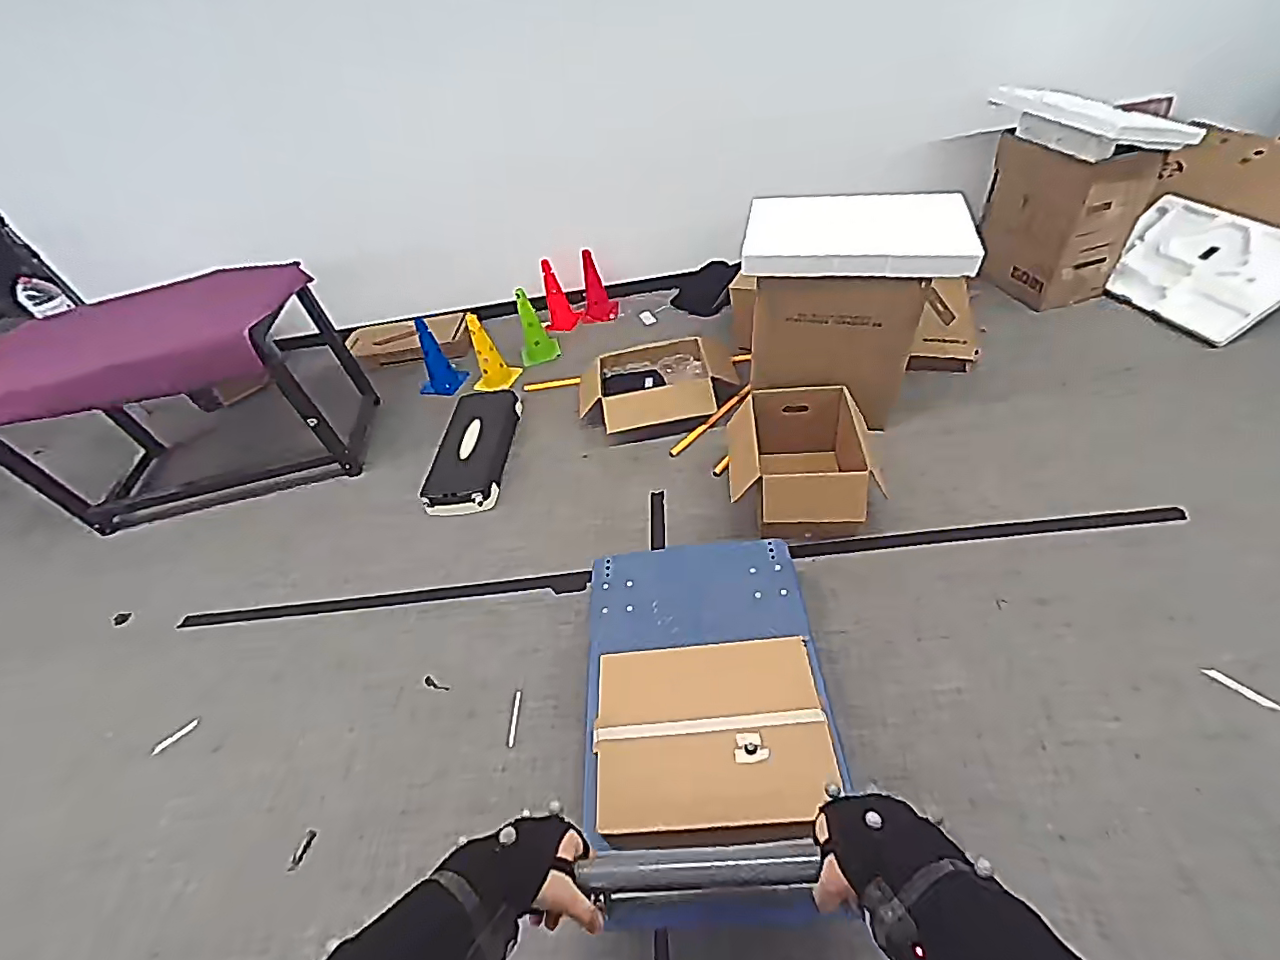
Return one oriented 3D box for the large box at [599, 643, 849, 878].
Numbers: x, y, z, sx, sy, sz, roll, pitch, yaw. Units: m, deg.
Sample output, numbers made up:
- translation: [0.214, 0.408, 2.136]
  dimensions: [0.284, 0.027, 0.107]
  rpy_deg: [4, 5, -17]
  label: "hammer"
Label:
- translation: [0.142, 0.552, 1.059]
  dimensions: [0.408, 0.320, 0.320]
  rpy_deg: [-7, 46, 4]
  label: "large box"
